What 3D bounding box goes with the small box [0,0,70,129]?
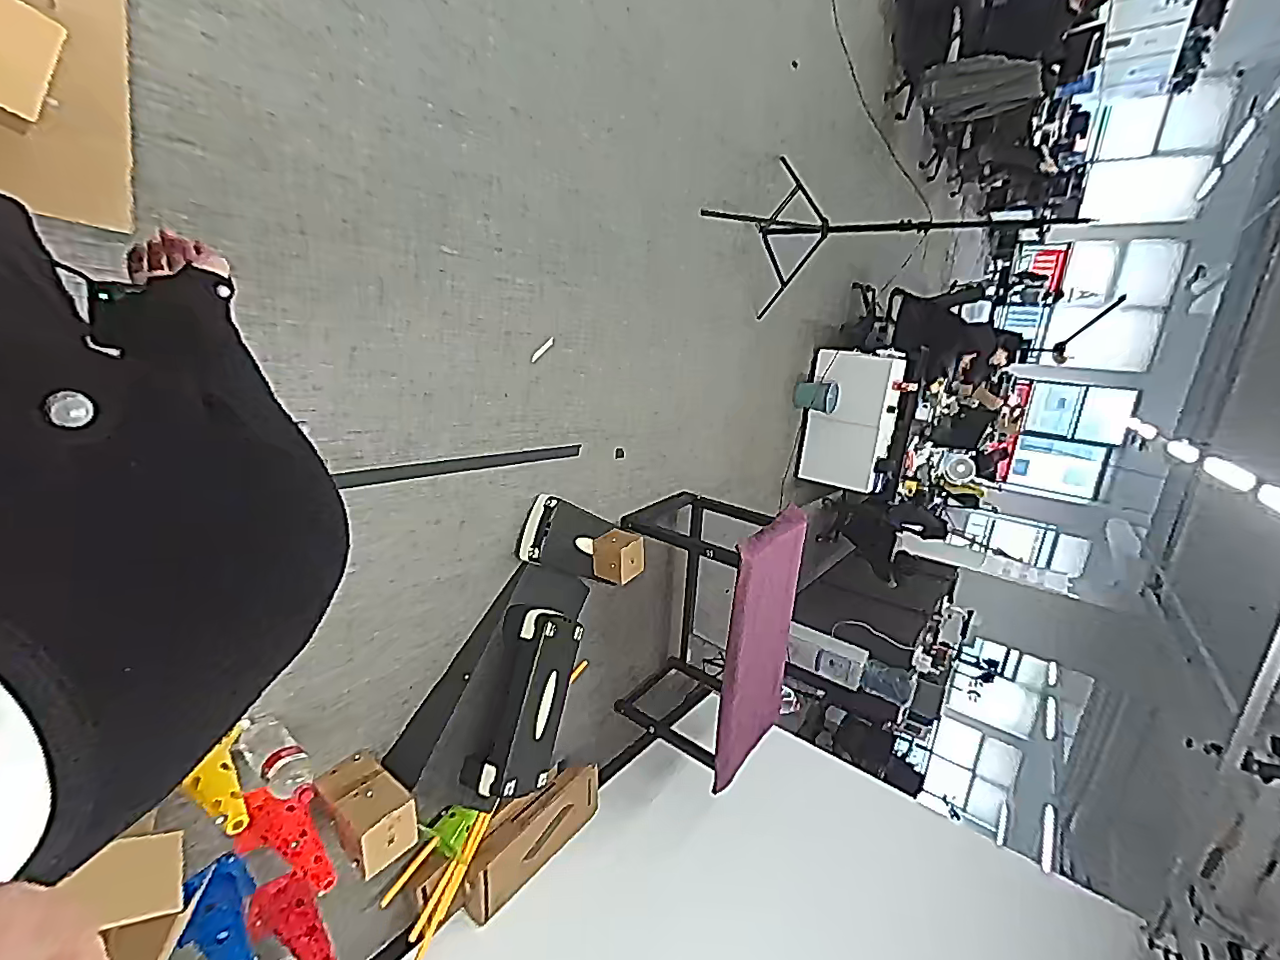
[{"bbox_3d":[-1.078,-0.703,0.874,0.179,0.176,0.168,19,90,-52],"label":"small box"}]
